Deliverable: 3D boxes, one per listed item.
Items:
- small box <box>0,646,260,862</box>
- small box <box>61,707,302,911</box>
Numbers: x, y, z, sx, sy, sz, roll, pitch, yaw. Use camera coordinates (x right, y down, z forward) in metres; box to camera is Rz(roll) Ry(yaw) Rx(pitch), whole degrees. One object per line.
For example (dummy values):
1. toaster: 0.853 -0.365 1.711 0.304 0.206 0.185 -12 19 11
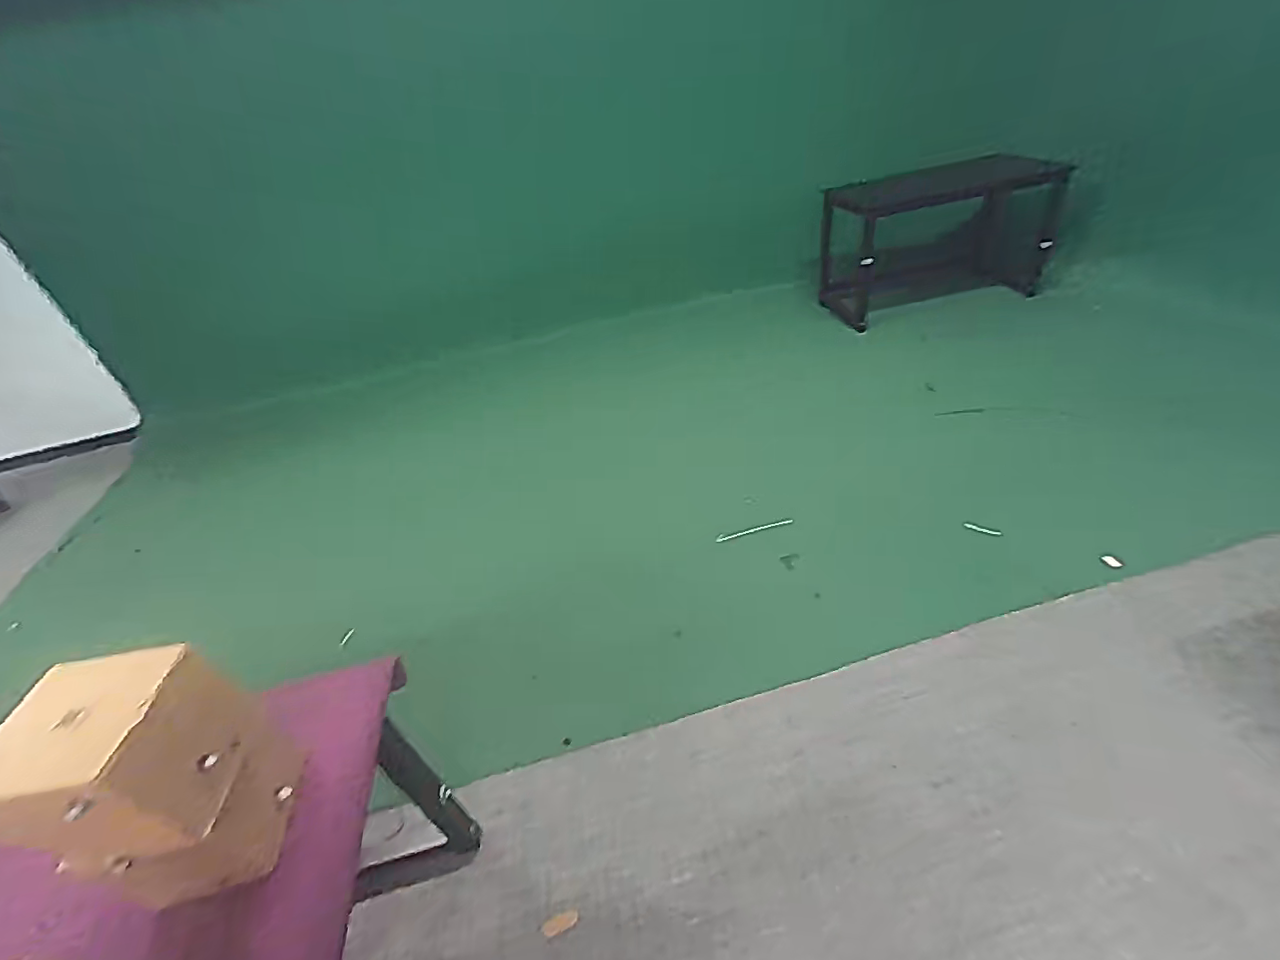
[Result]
1. small box: -0.620 0.332 0.652 0.179 0.176 0.168 -10 37 1
2. small box: -0.614 0.458 0.760 0.168 0.176 0.179 -16 38 -4
